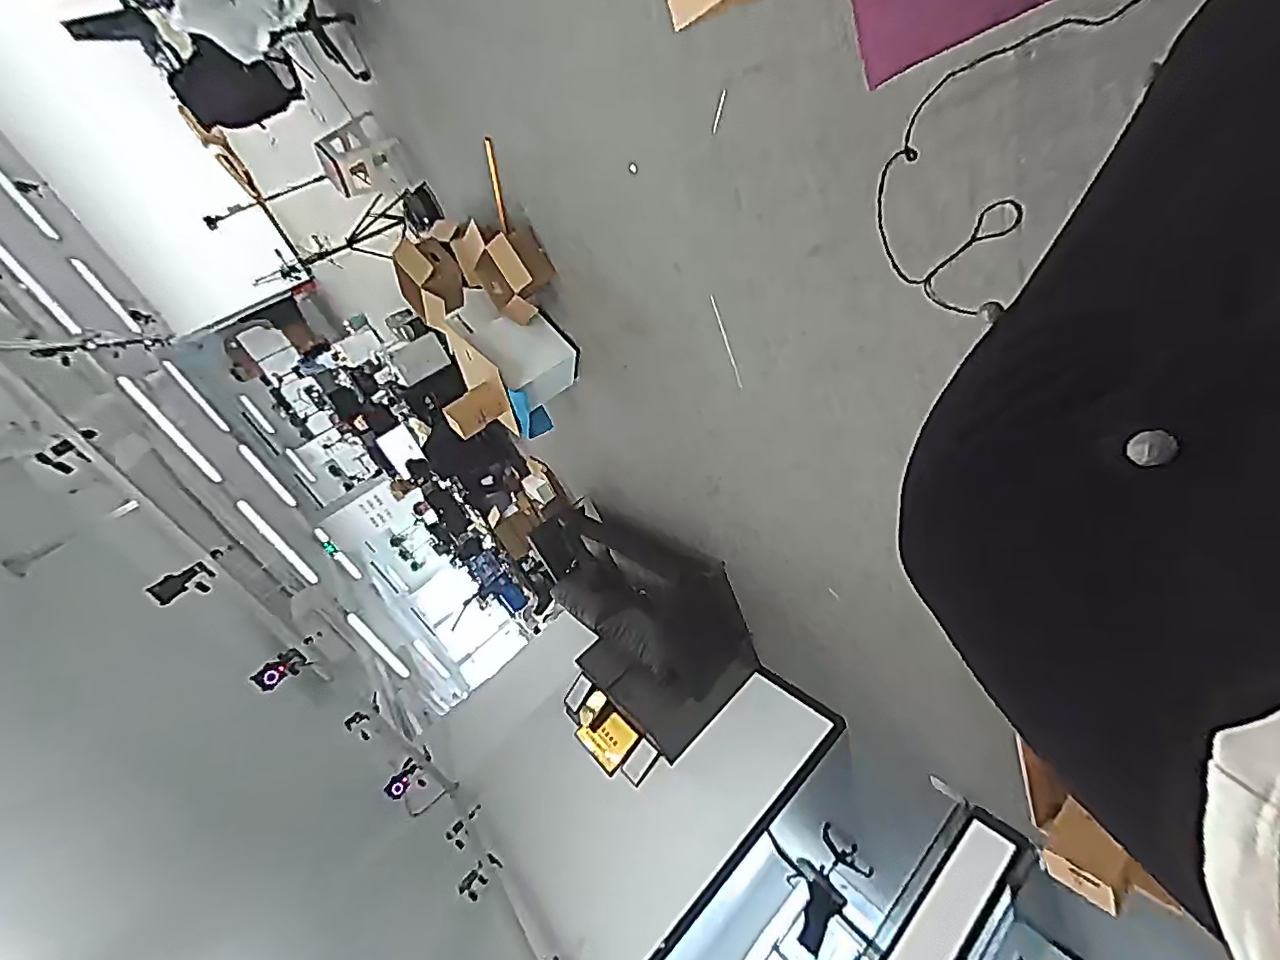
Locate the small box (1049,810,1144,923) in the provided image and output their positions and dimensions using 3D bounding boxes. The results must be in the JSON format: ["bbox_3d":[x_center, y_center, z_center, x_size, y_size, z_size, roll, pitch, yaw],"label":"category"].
[{"bbox_3d":[1.313,1.099,1.552,0.168,0.176,0.179,15,140,55],"label":"small box"}]
